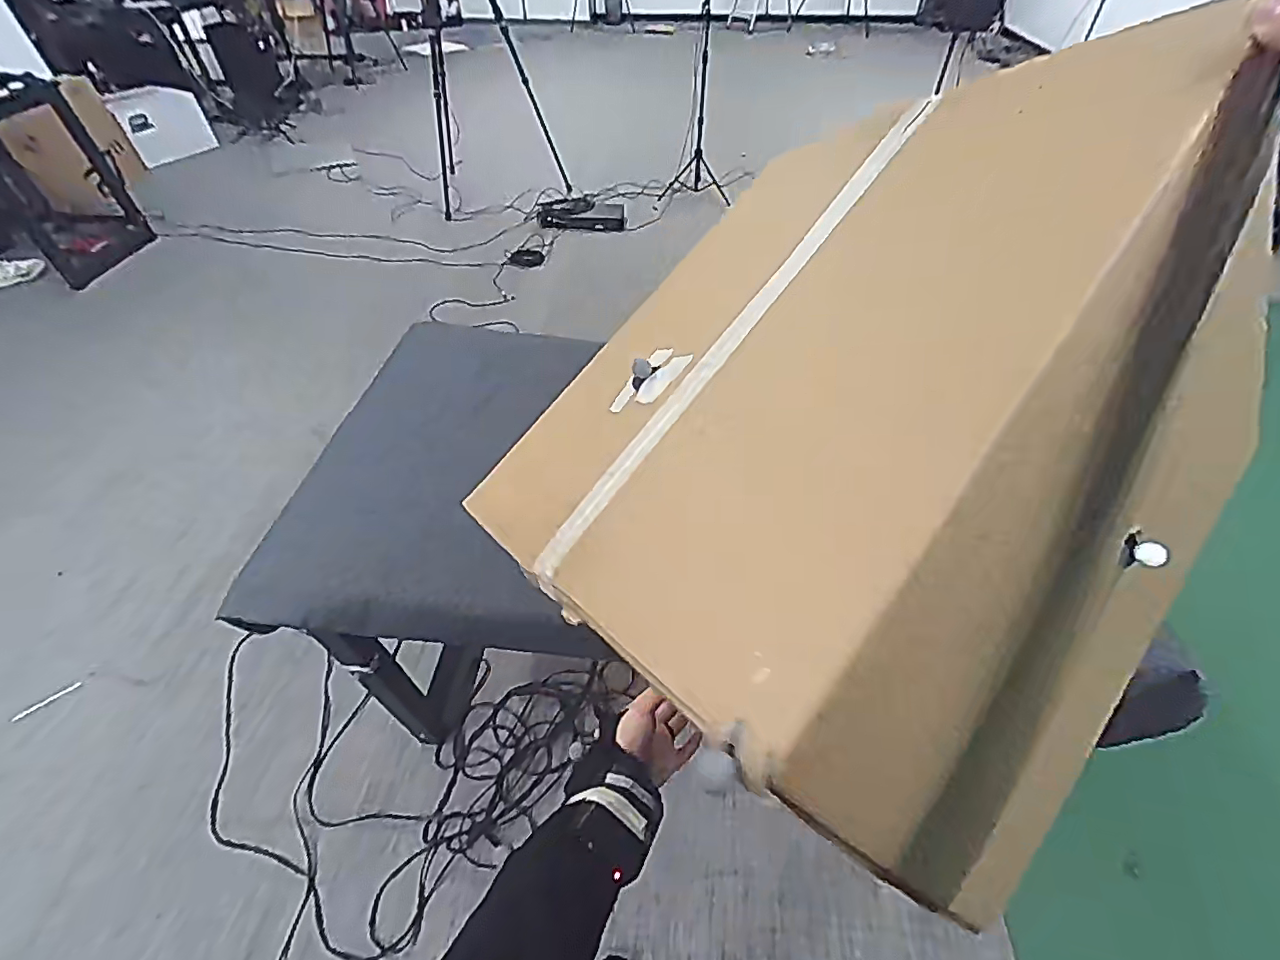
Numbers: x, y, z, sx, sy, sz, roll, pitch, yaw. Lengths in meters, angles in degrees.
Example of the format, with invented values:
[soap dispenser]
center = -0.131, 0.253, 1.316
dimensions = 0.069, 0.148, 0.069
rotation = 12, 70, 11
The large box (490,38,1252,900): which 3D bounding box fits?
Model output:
[large box]
center = 0.172, -0.002, 0.416
dimensions = 0.408, 0.320, 0.320
rotation = -53, 35, -12
